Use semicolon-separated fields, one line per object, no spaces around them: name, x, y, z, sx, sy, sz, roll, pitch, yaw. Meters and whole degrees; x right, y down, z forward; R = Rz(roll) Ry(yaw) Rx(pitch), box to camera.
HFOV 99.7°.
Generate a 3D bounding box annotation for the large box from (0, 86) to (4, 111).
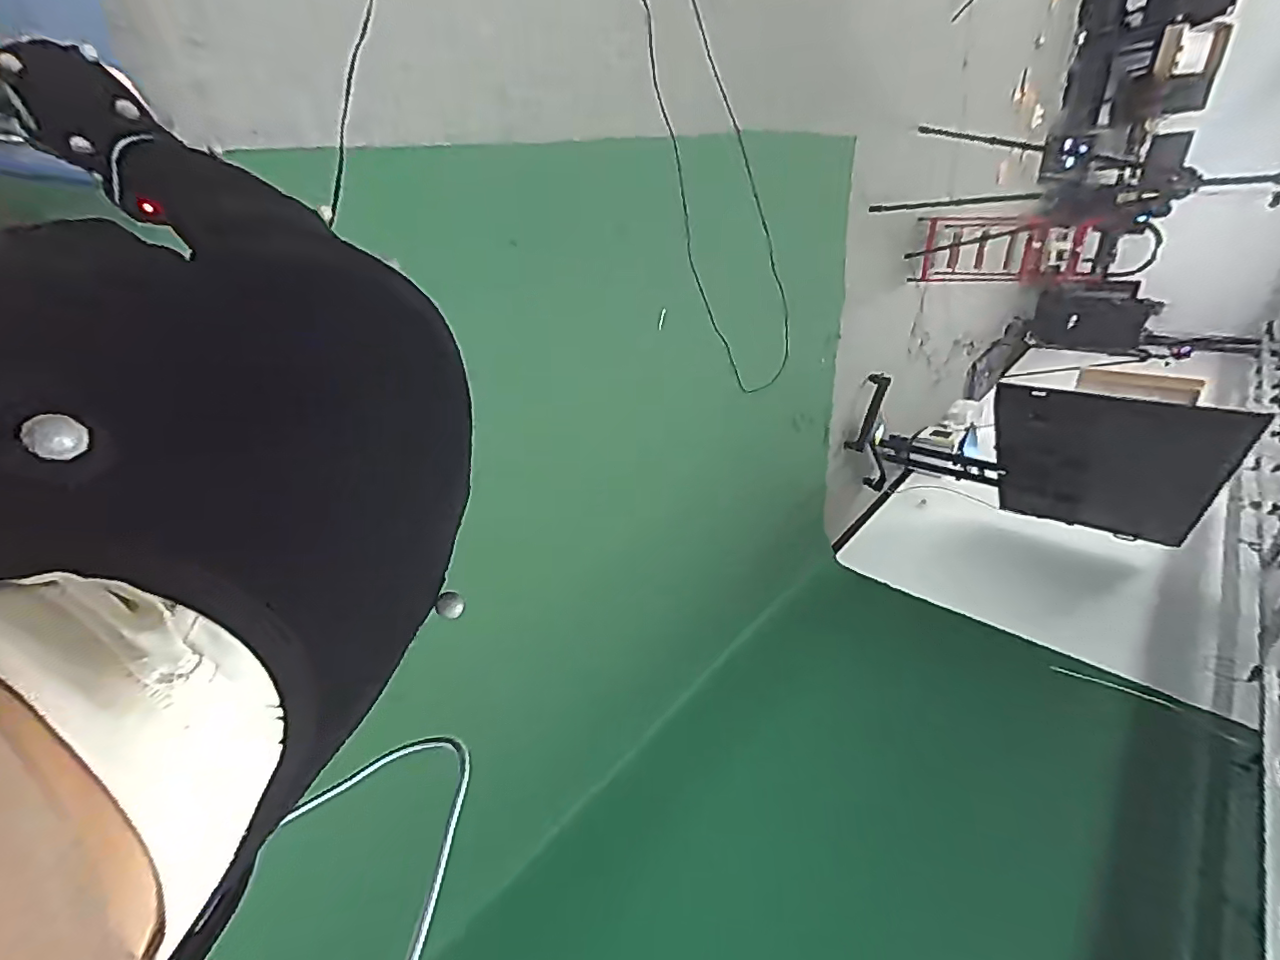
large box;-1.028;-0.719;0.621;0.320;0.320;0.408;-15;115;-45
